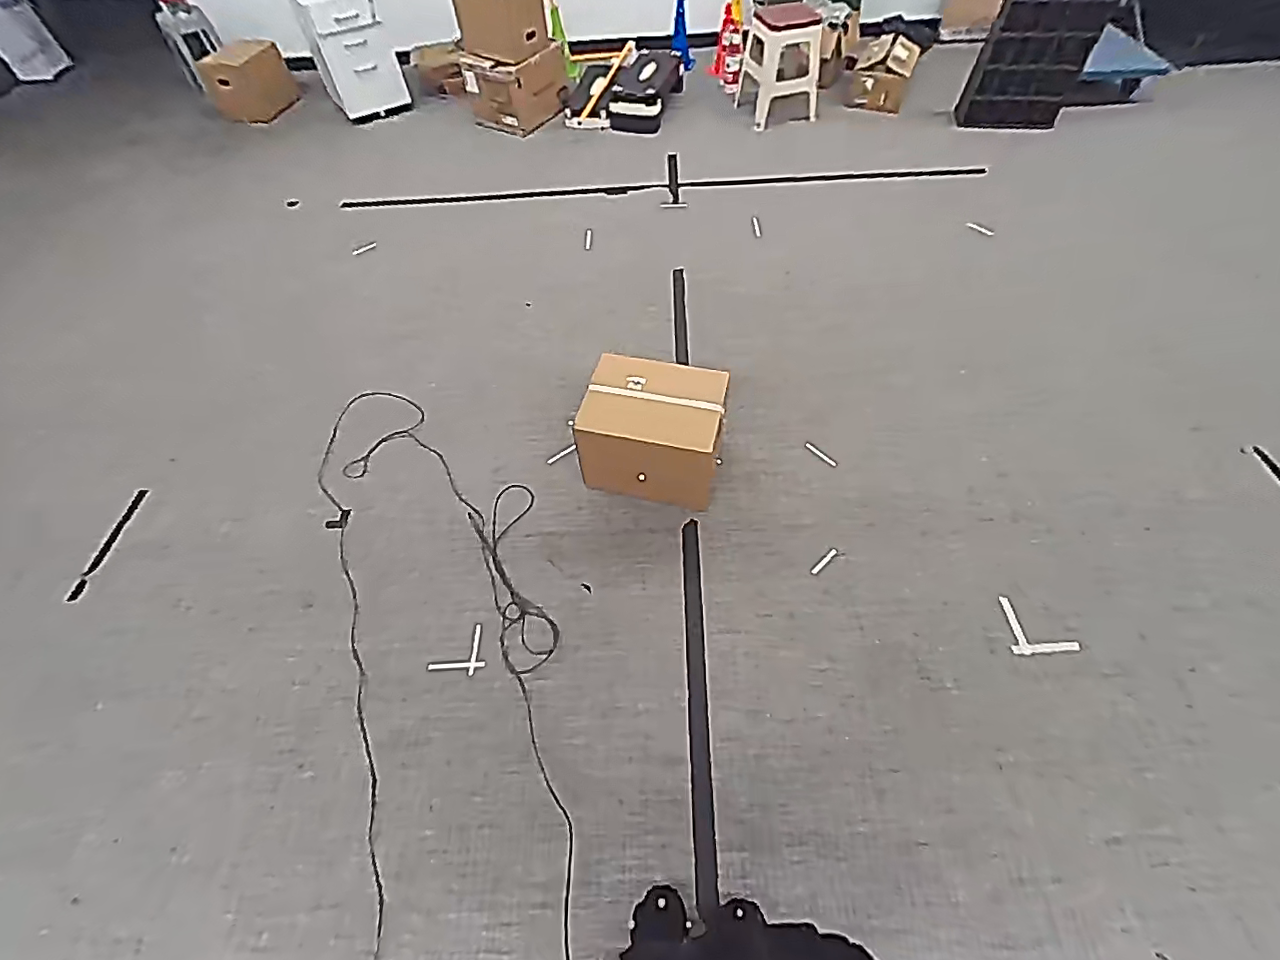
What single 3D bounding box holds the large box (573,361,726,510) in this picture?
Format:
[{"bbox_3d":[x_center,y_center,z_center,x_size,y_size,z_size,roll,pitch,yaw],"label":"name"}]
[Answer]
[{"bbox_3d":[0.045,-0.136,1.704,0.408,0.320,0.320,10,56,11],"label":"large box"}]
